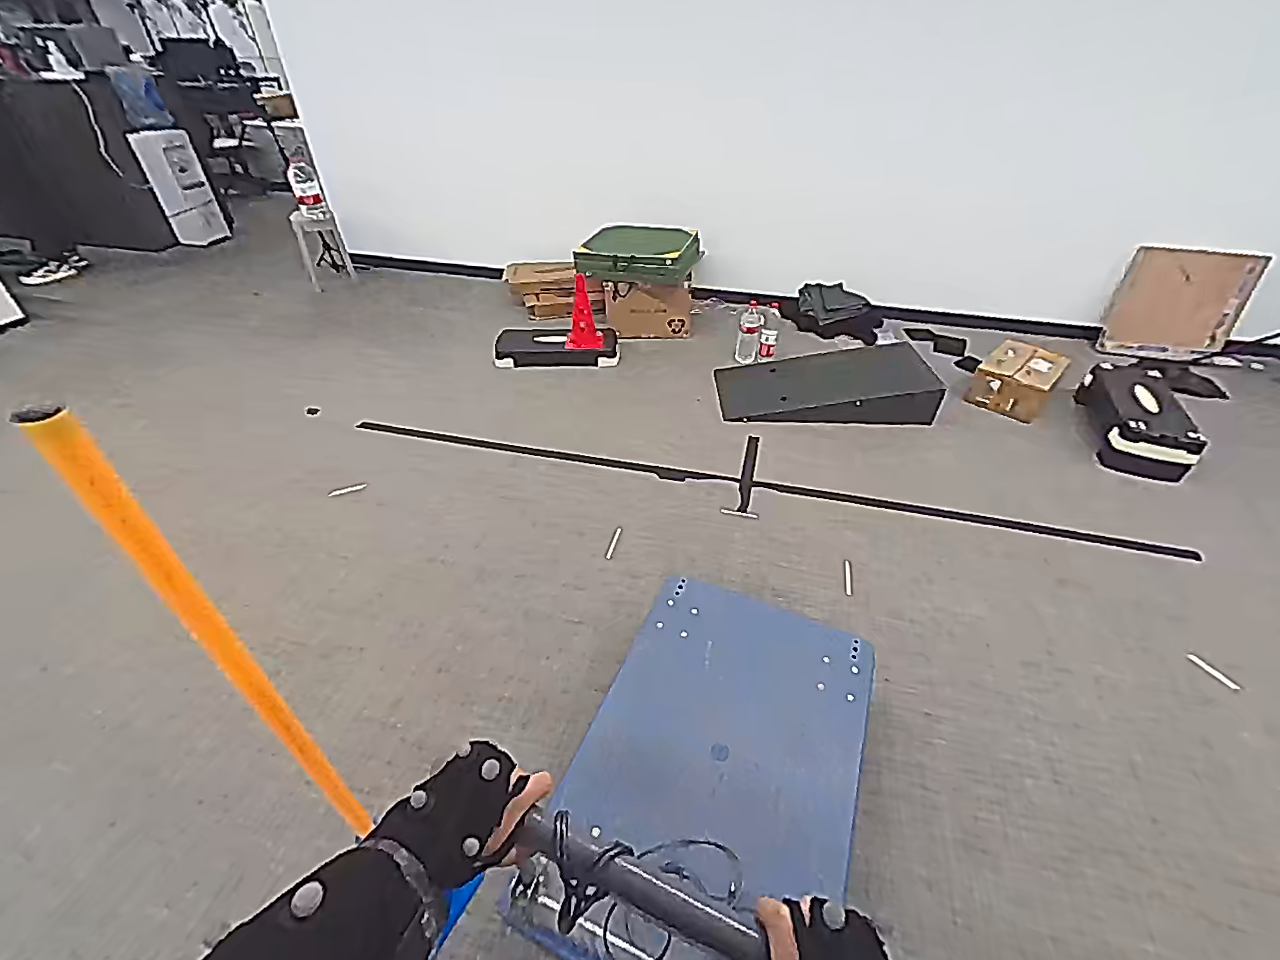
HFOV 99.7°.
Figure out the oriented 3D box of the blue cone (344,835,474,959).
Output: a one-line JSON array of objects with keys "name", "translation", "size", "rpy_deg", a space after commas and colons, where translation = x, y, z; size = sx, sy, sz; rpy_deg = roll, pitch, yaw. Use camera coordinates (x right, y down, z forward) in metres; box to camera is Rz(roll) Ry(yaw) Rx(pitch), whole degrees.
[{"name": "blue cone", "translation": [-0.457, 0.729, 0.997], "size": [0.193, 0.380, 0.192], "rpy_deg": [20, 43, 22]}]
